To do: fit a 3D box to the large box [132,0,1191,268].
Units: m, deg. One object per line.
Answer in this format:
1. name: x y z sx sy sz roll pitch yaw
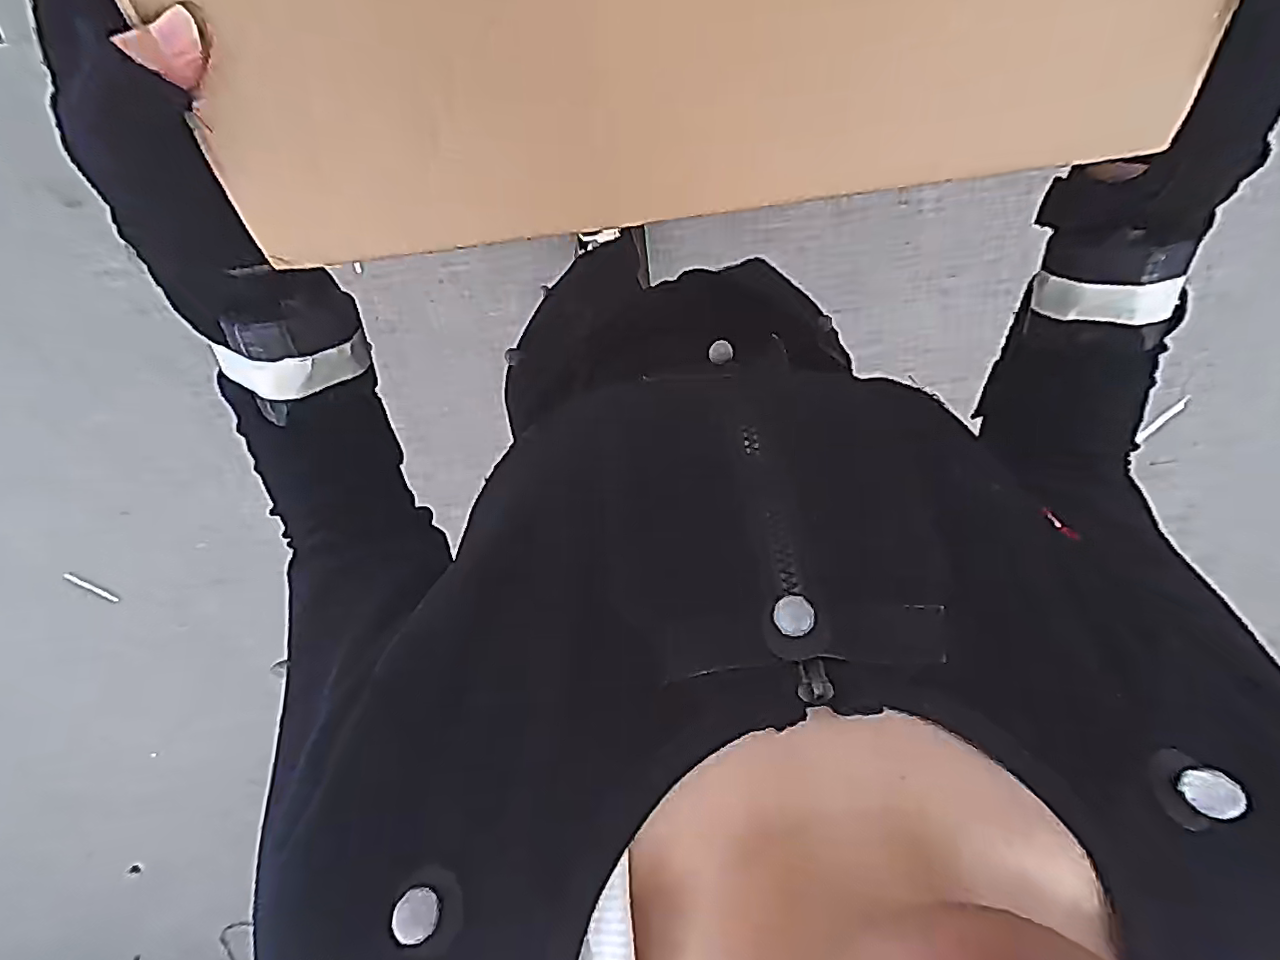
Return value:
1. large box: 0.002 -0.339 0.258 0.408 0.320 0.320 -7 132 2
